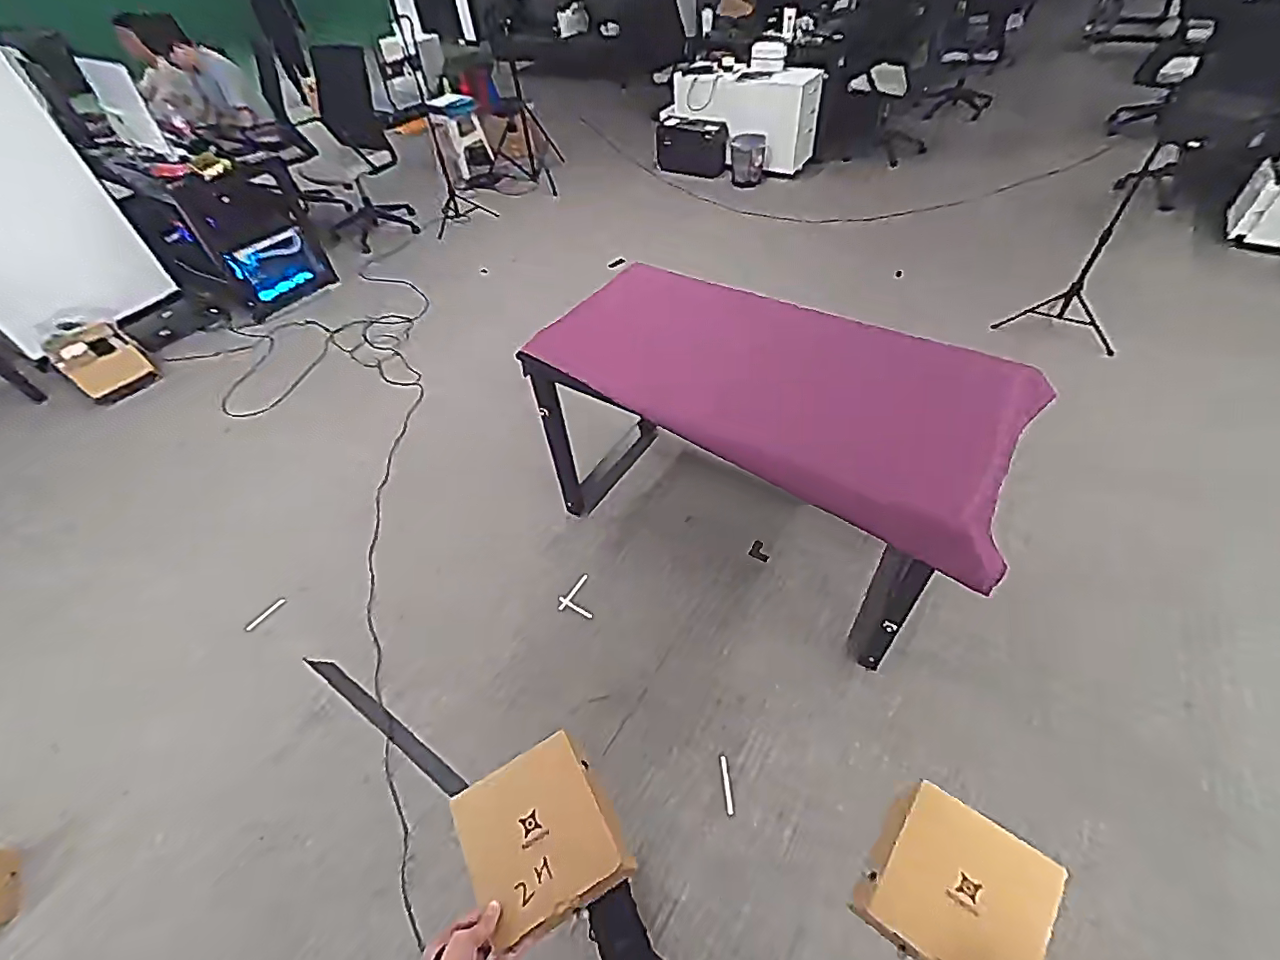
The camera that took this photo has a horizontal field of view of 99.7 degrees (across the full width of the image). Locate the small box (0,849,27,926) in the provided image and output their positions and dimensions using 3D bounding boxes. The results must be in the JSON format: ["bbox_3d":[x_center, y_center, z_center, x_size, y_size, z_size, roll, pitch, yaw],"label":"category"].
[{"bbox_3d":[-1.679,1.030,1.314,0.179,0.176,0.168,-28,52,-17],"label":"small box"}]

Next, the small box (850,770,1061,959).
[{"bbox_3d":[0.388,0.512,0.692,0.168,0.176,0.179,27,65,28],"label":"small box"}]

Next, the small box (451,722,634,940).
[{"bbox_3d":[-0.124,0.463,0.721,0.168,0.176,0.179,-27,55,-12],"label":"small box"}]
